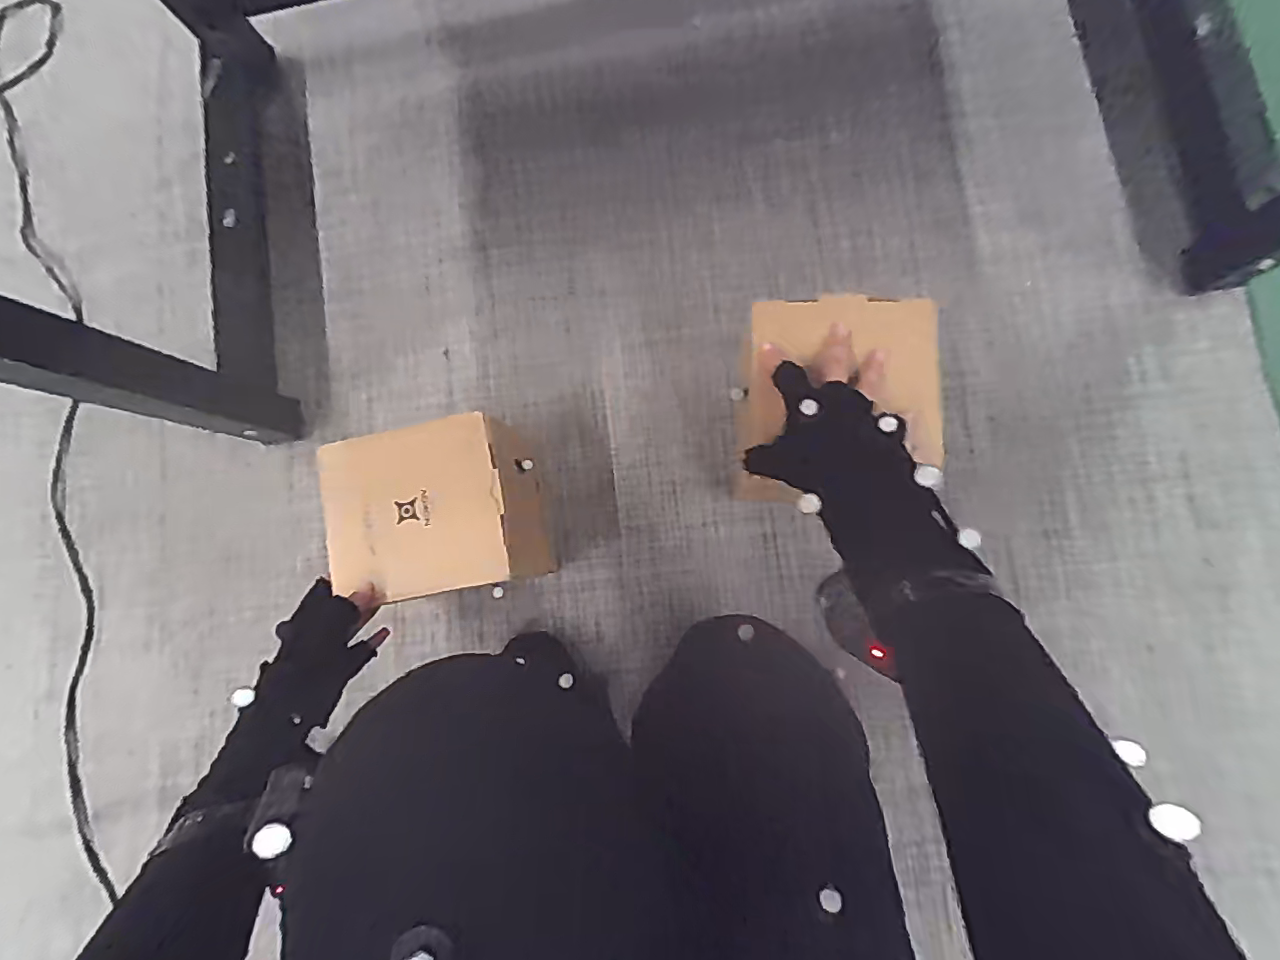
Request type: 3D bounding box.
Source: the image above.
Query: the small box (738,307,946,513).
[{"bbox_3d":[0.193,-0.062,0.564,0.168,0.176,0.179,1,83,5],"label":"small box"}]
